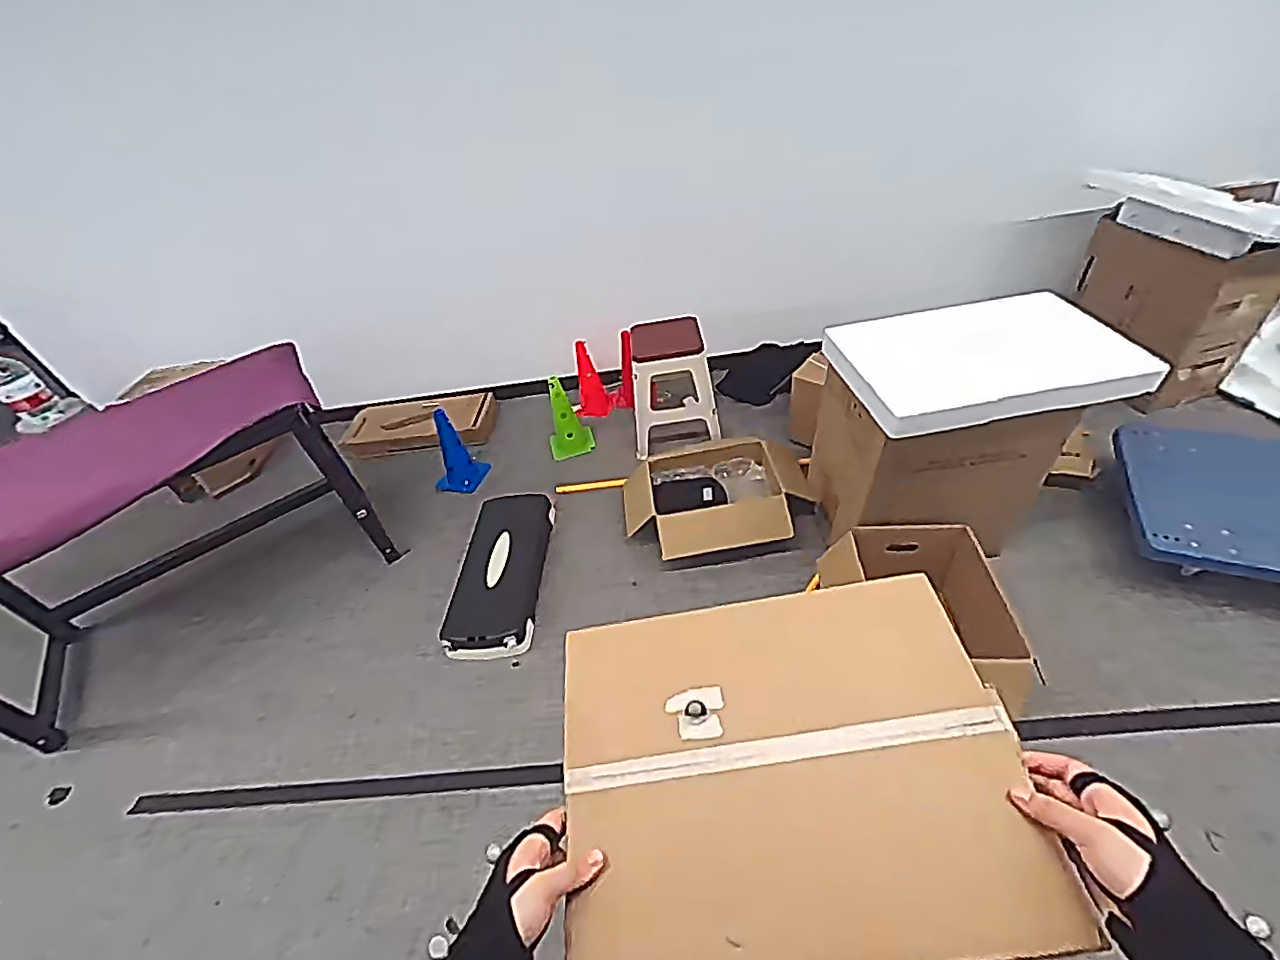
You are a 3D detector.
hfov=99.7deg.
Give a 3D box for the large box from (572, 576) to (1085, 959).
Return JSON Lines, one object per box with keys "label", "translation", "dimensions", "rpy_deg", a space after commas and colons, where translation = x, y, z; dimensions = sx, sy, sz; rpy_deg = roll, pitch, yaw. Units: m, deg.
{"label": "large box", "translation": [0.161, 0.355, 0.627], "dimensions": [0.408, 0.320, 0.320], "rpy_deg": [-12, 47, 6]}
